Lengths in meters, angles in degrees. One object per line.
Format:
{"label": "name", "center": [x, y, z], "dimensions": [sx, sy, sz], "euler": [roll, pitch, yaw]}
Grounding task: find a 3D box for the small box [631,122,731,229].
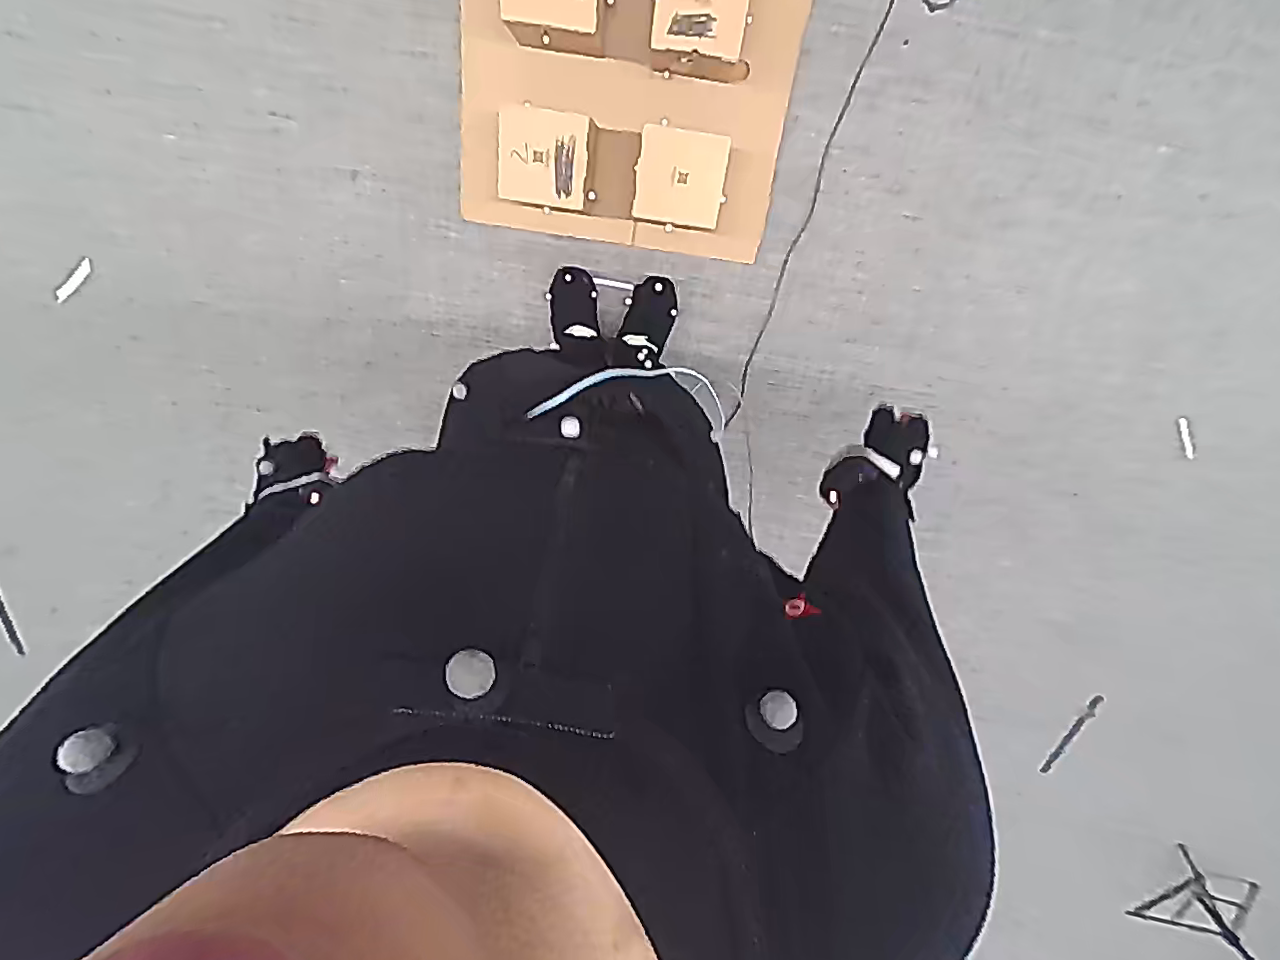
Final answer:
{"label": "small box", "center": [0.083, -0.637, 1.145], "dimensions": [0.179, 0.176, 0.168], "euler": [10, 116, 0]}
